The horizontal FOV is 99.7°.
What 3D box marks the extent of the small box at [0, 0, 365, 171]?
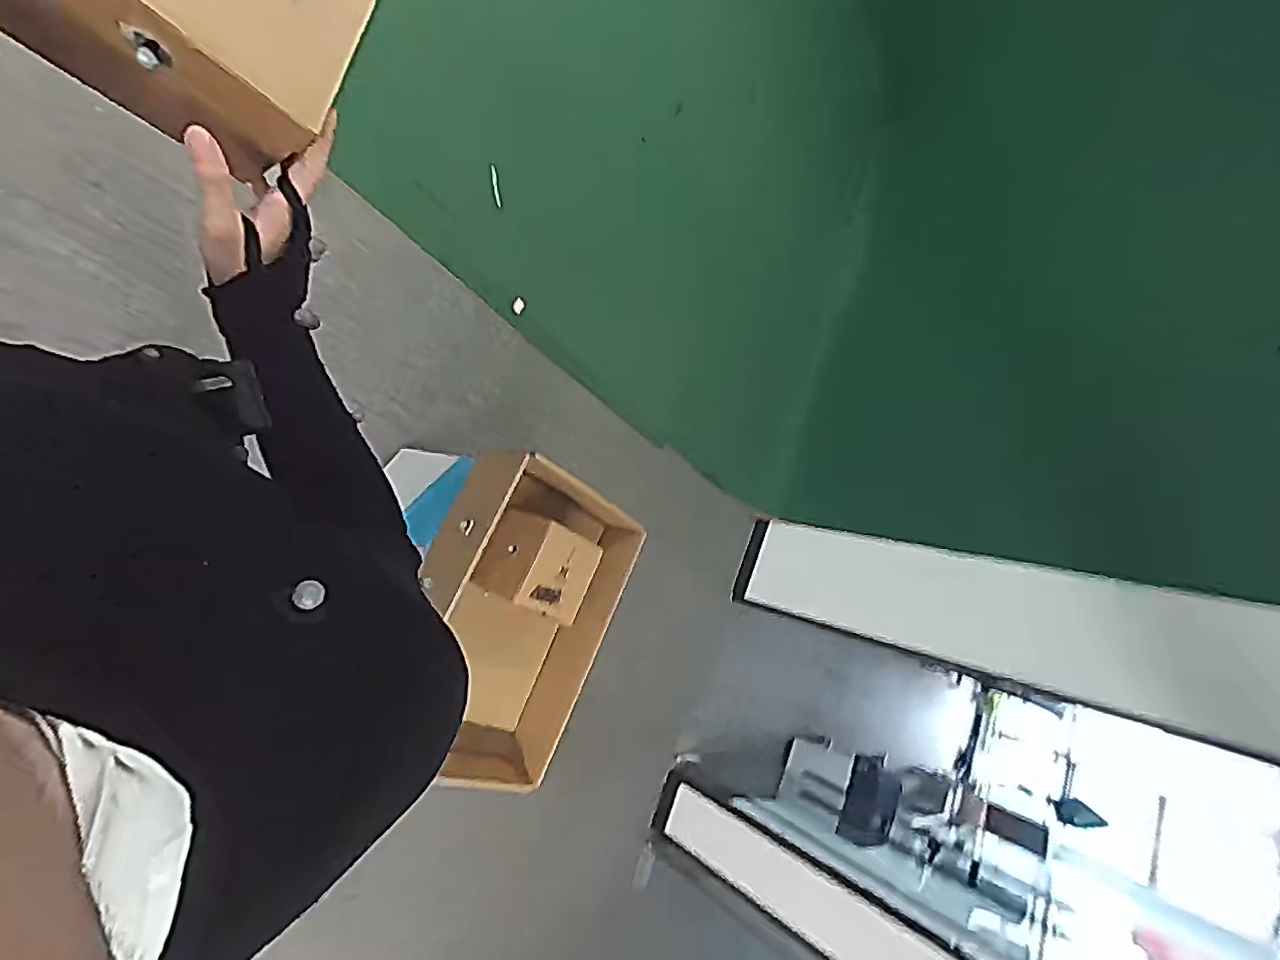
[{"bbox_3d":[-0.330,-0.362,0.388,0.179,0.176,0.168,27,74,-51],"label":"small box"}]
